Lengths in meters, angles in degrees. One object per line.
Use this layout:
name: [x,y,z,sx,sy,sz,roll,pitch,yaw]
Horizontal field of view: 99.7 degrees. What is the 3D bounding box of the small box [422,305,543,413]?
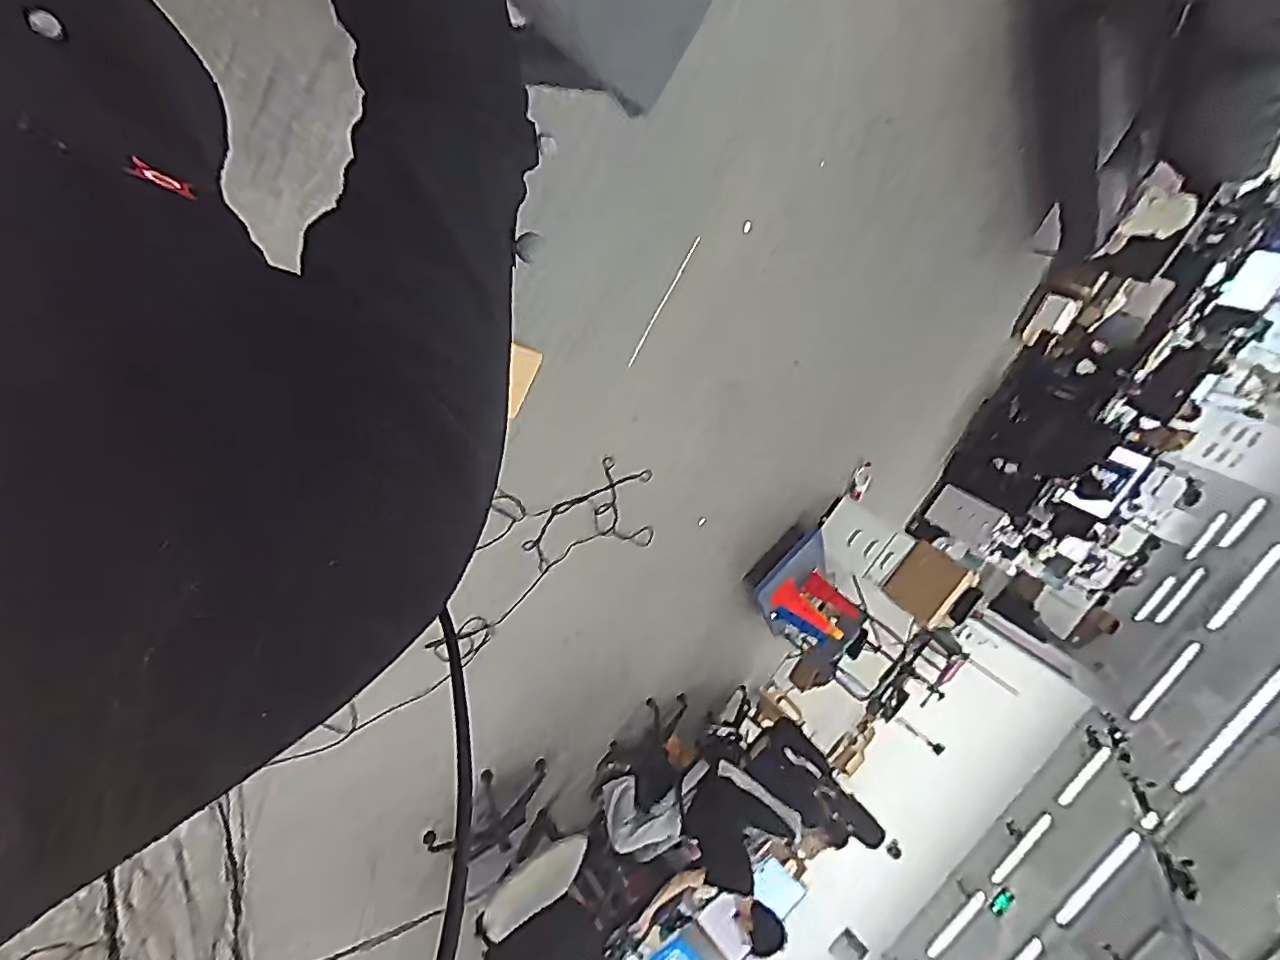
small box: [-0.359,-0.275,1.218,0.179,0.176,0.168,10,112,-51]
